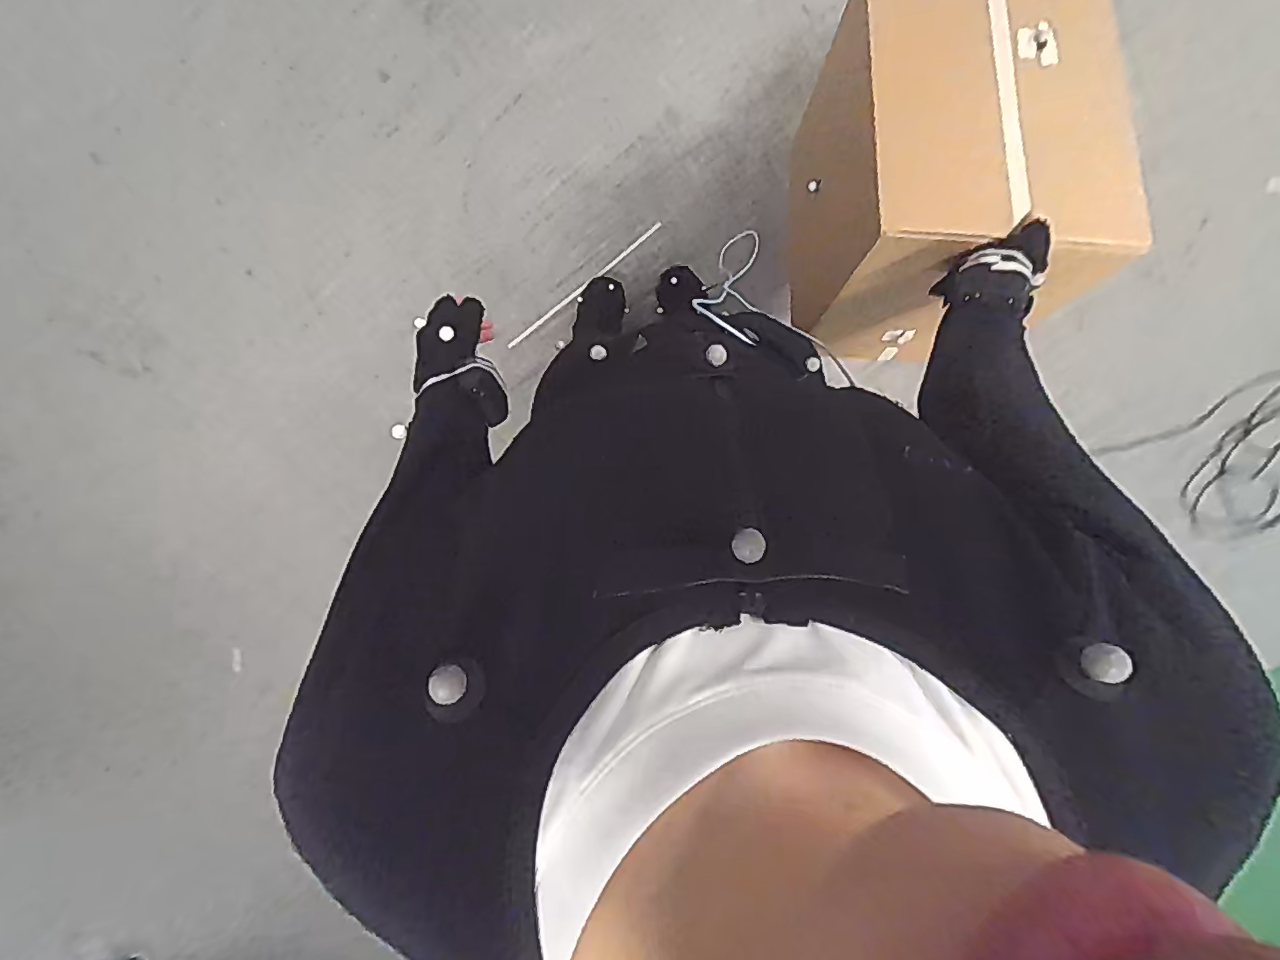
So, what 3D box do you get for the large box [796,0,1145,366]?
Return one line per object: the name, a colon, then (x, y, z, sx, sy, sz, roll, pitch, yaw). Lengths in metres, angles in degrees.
large box: (0.430, -0.418, 0.802, 0.320, 0.320, 0.408, 4, 78, -2)
